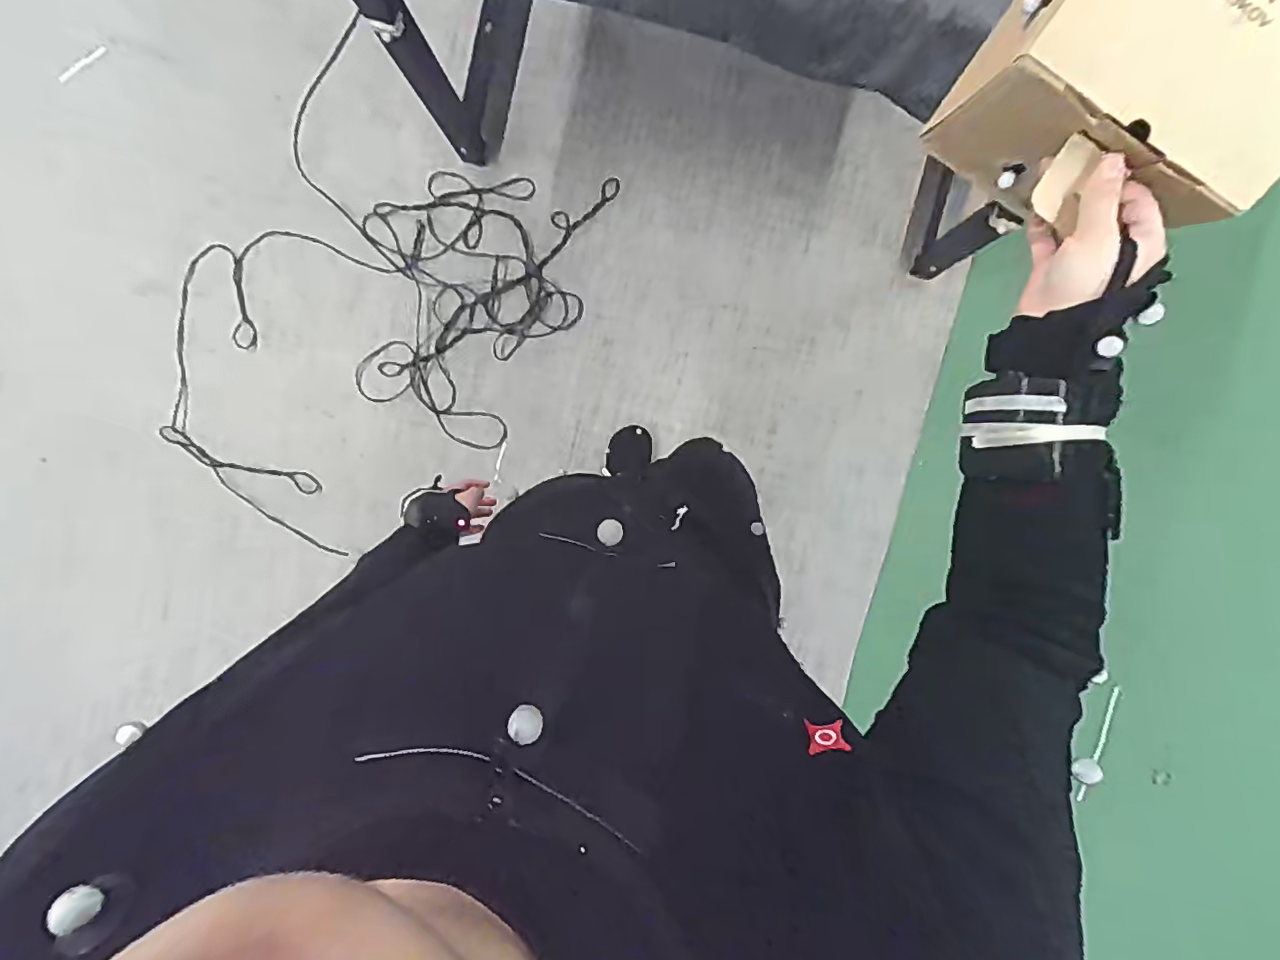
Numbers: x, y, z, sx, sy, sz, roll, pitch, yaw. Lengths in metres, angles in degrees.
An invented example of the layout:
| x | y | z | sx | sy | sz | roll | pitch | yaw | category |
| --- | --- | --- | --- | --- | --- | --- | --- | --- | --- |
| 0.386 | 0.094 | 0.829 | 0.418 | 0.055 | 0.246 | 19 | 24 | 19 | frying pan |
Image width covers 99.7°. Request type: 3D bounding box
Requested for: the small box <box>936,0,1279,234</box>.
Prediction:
| x | y | z | sx | sy | sz | roll | pitch | yaw | category |
| --- | --- | --- | --- | --- | --- | --- | --- | --- | --- |
| 0.343 | -0.294 | 0.361 | 0.168 | 0.176 | 0.179 | 33 | 109 | -3 | small box |
